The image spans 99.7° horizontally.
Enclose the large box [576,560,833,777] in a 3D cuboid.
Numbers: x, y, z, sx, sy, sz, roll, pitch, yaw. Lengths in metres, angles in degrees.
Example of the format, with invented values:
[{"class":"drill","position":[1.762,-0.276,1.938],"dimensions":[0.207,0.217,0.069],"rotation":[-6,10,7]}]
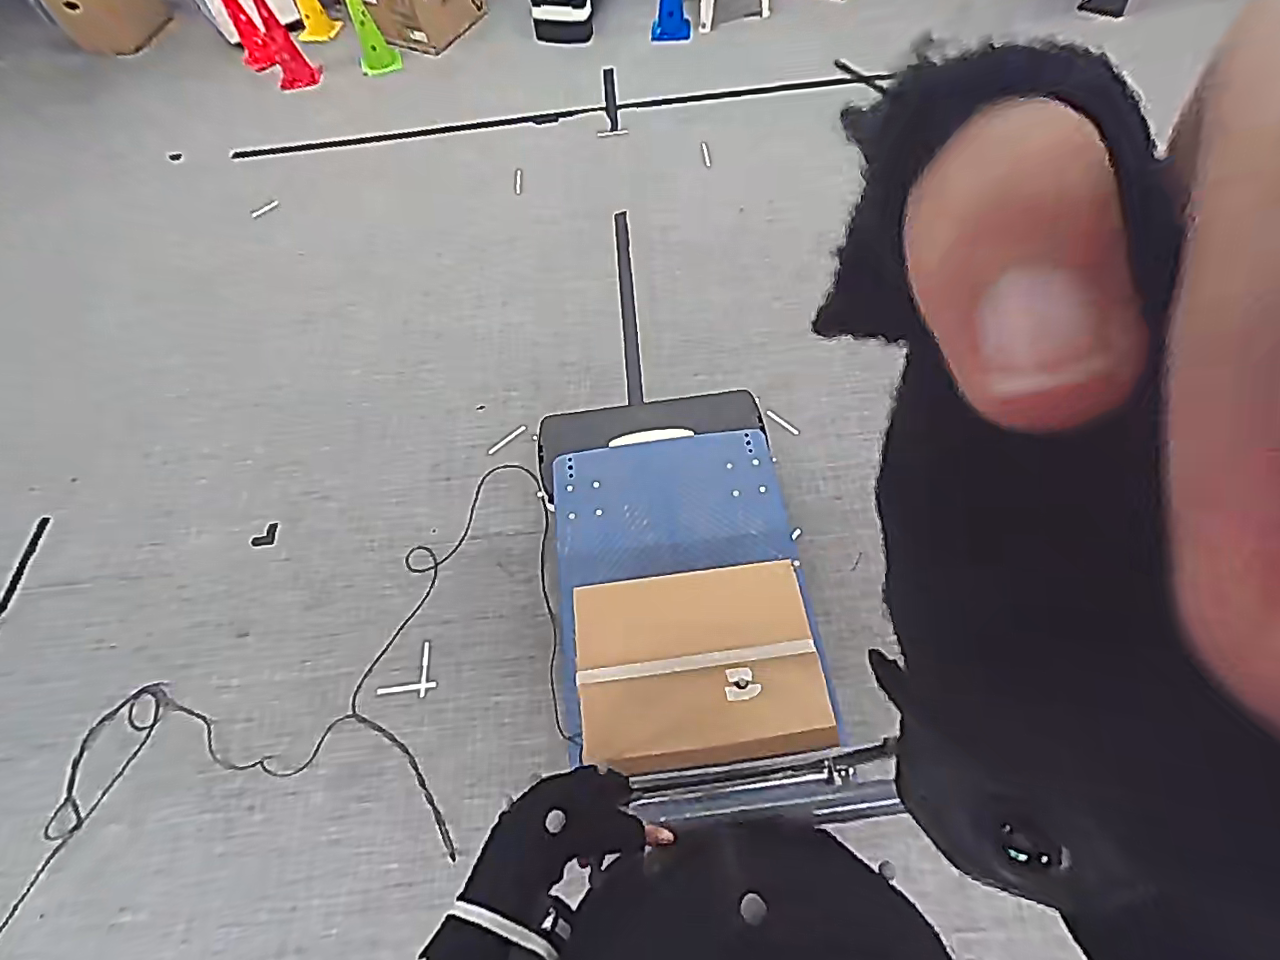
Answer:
[{"class":"large box","position":[0.102,0.381,1.066],"dimensions":[0.408,0.320,0.320],"rotation":[-8,63,-1]}]
